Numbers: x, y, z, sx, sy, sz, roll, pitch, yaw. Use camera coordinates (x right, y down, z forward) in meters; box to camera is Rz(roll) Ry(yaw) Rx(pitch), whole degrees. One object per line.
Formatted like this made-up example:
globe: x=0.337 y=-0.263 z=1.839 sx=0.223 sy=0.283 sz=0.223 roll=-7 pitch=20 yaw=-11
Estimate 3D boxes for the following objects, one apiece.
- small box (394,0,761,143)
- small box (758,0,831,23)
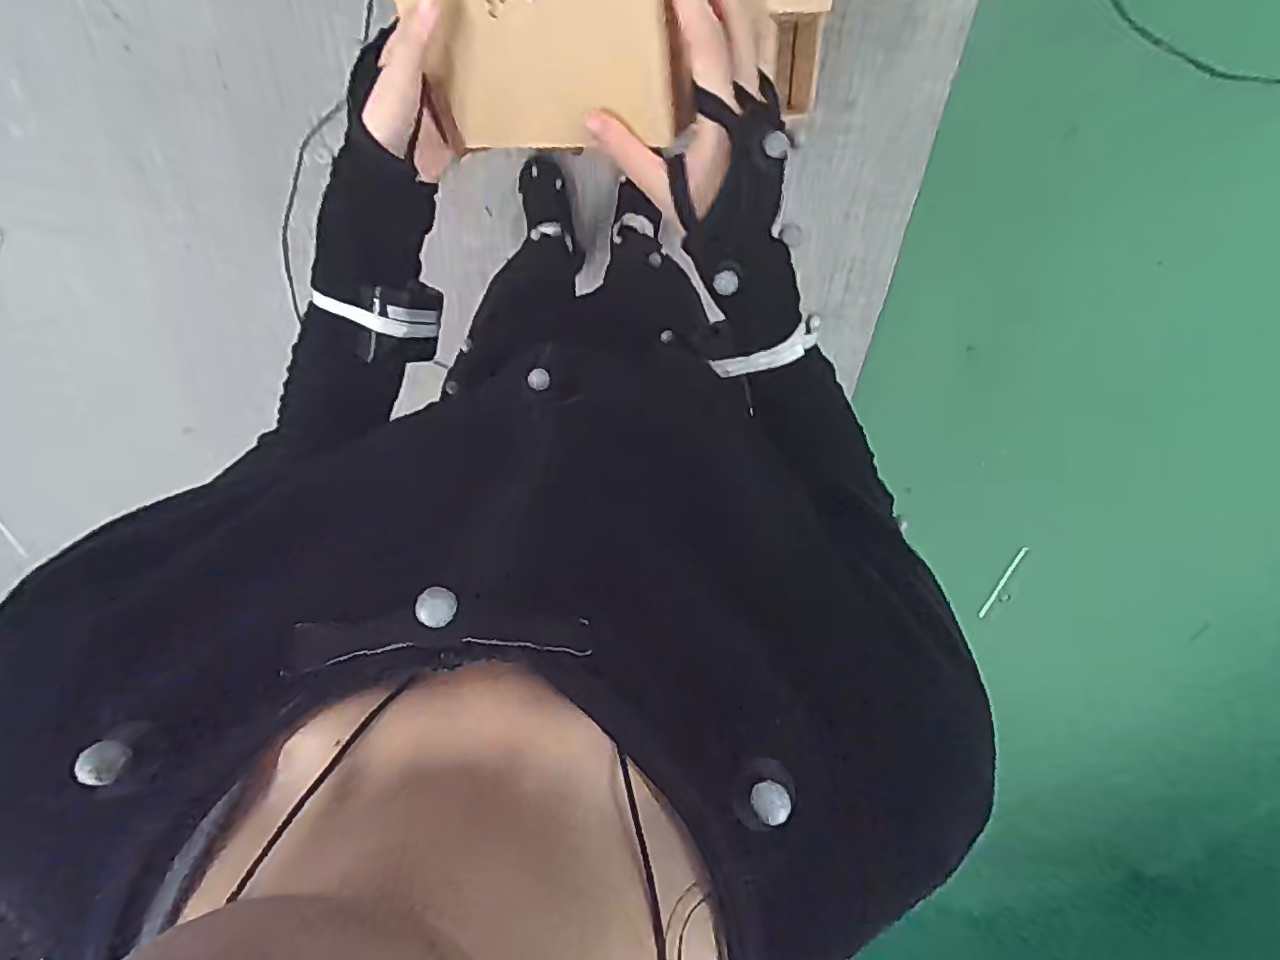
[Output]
small box: x=-0.034 y=-0.323 z=0.321 sx=0.179 sy=0.176 sz=0.168 roll=17 pitch=144 yaw=27
small box: x=0.189 y=-0.779 z=0.779 sx=0.168 sy=0.176 sz=0.179 roll=0 pitch=127 yaw=-2
